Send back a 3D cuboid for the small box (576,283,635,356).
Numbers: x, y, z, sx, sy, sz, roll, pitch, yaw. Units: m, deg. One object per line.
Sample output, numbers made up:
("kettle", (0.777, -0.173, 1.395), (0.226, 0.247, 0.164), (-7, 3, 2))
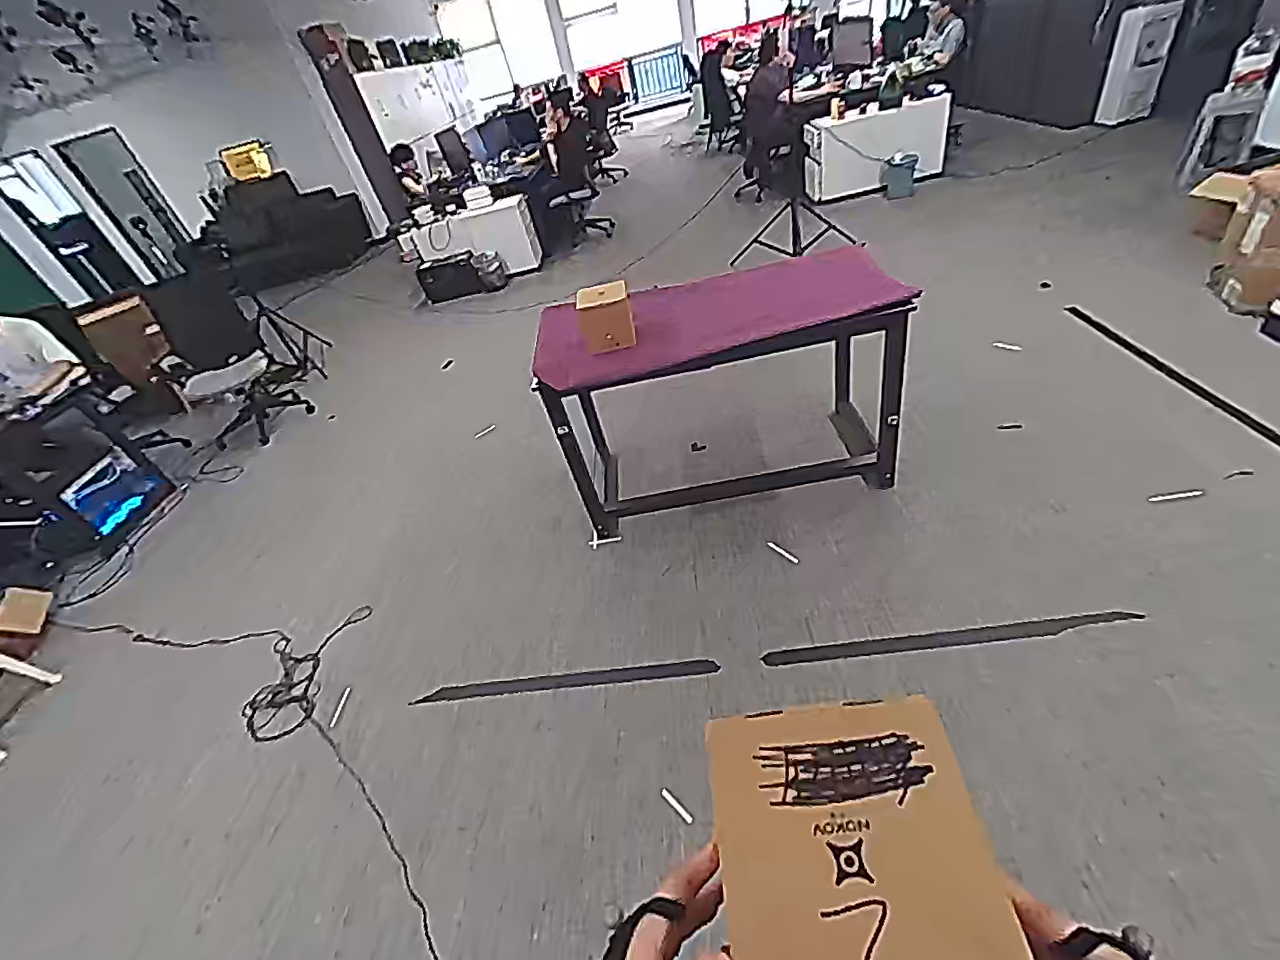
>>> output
("small box", (-0.113, -0.543, 1.836), (0.168, 0.176, 0.179), (-11, 39, 5))
